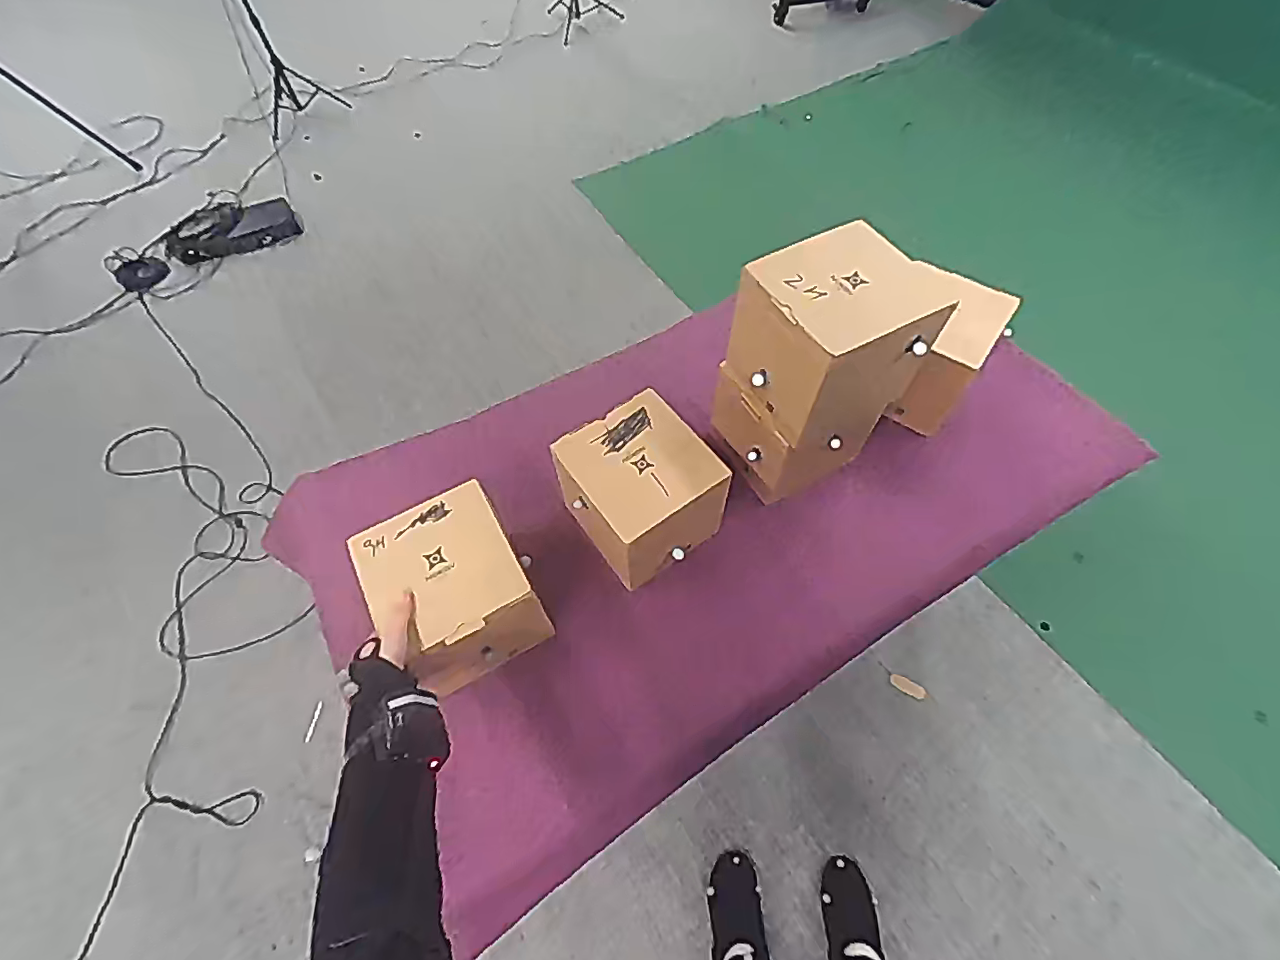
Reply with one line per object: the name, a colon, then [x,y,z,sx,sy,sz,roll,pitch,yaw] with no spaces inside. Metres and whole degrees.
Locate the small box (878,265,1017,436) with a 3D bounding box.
small box: [0.453,-0.203,0.871,0.168,0.176,0.179,33,65,20]

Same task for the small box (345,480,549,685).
small box: [-0.230,0.137,0.678,0.168,0.176,0.179,-27,62,-14]

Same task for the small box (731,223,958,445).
small box: [0.232,-0.175,0.667,0.179,0.176,0.168,-24,61,-13]

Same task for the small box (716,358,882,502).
small box: [0.226,-0.094,0.810,0.179,0.176,0.168,-25,62,-13]

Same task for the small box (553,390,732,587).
small box: [0.001,0.016,0.747,0.168,0.176,0.179,-32,64,-17]
